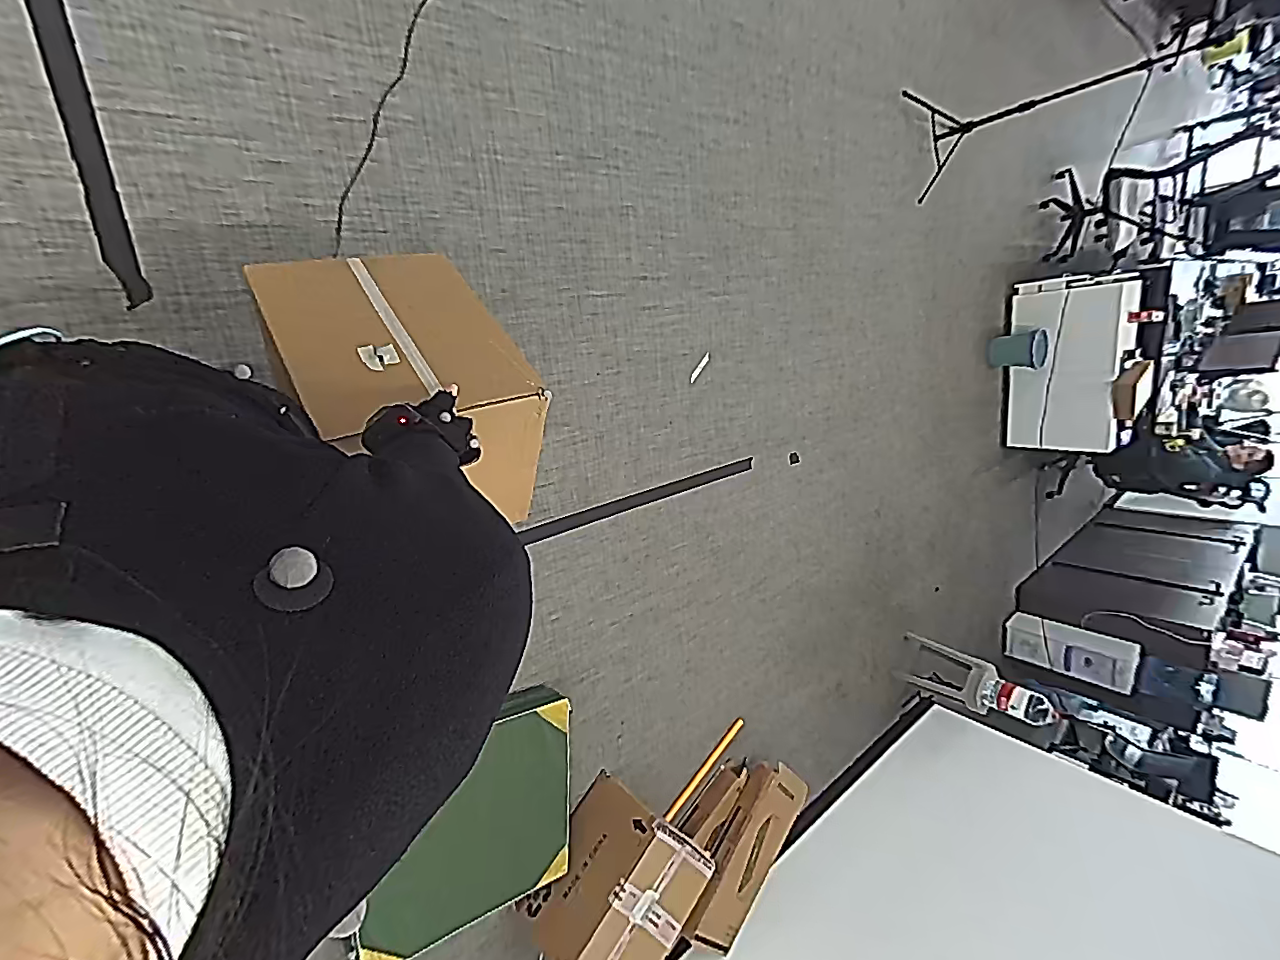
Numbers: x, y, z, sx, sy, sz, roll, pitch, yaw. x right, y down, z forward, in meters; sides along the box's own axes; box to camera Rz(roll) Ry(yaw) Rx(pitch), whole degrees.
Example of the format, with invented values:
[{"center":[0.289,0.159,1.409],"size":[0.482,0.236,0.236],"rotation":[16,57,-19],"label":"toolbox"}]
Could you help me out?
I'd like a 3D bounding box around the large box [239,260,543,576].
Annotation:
[{"center":[-0.414,-0.120,0.916],"size":[0.320,0.408,0.320],"rotation":[-20,149,-32],"label":"large box"}]
